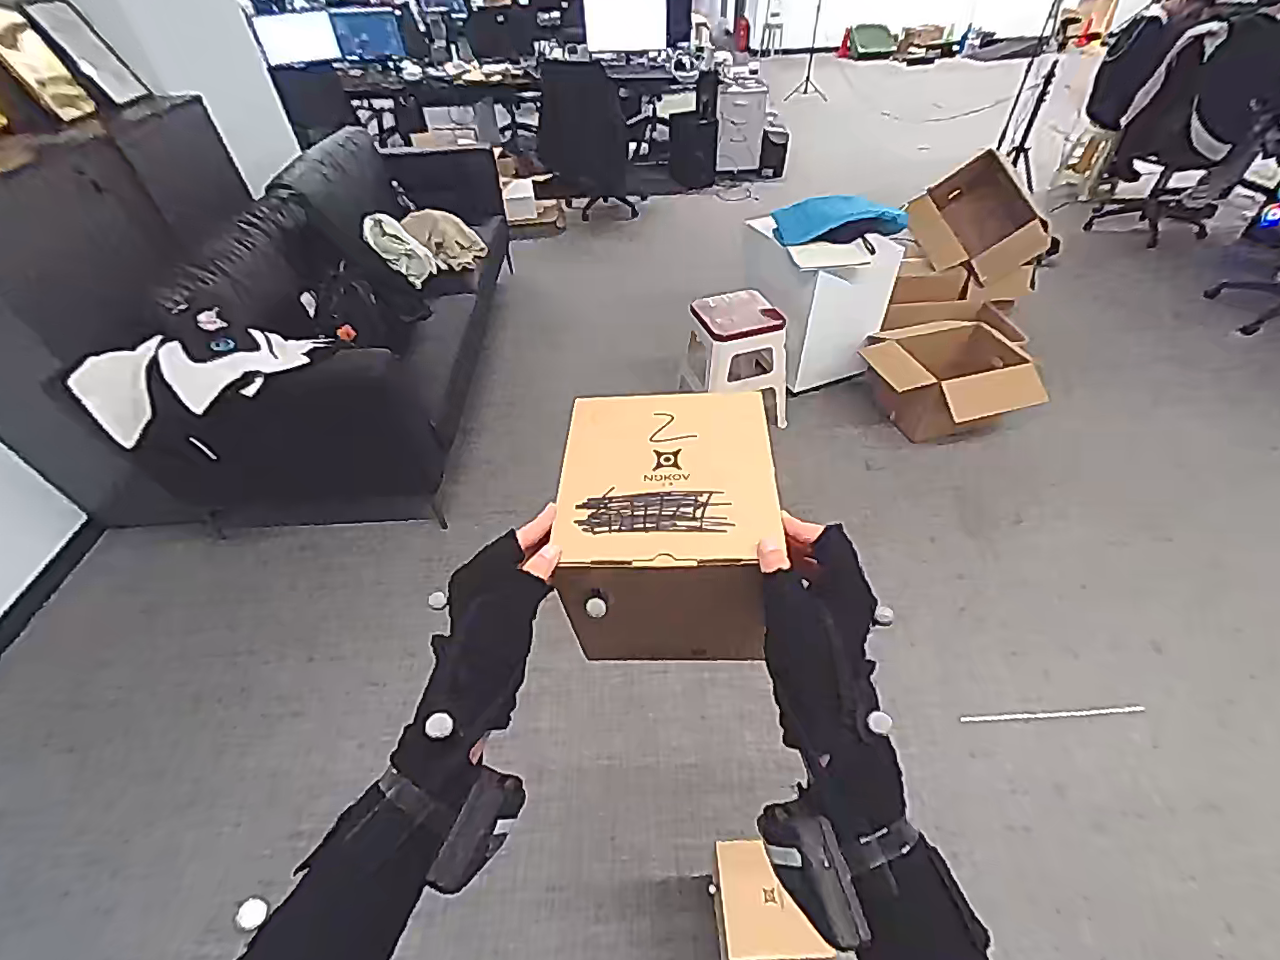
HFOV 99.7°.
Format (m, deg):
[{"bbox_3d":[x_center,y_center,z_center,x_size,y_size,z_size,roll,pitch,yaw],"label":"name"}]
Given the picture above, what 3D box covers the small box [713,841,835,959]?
[{"bbox_3d":[0.227,0.769,0.972,0.179,0.176,0.168,-3,45,0],"label":"small box"}]
